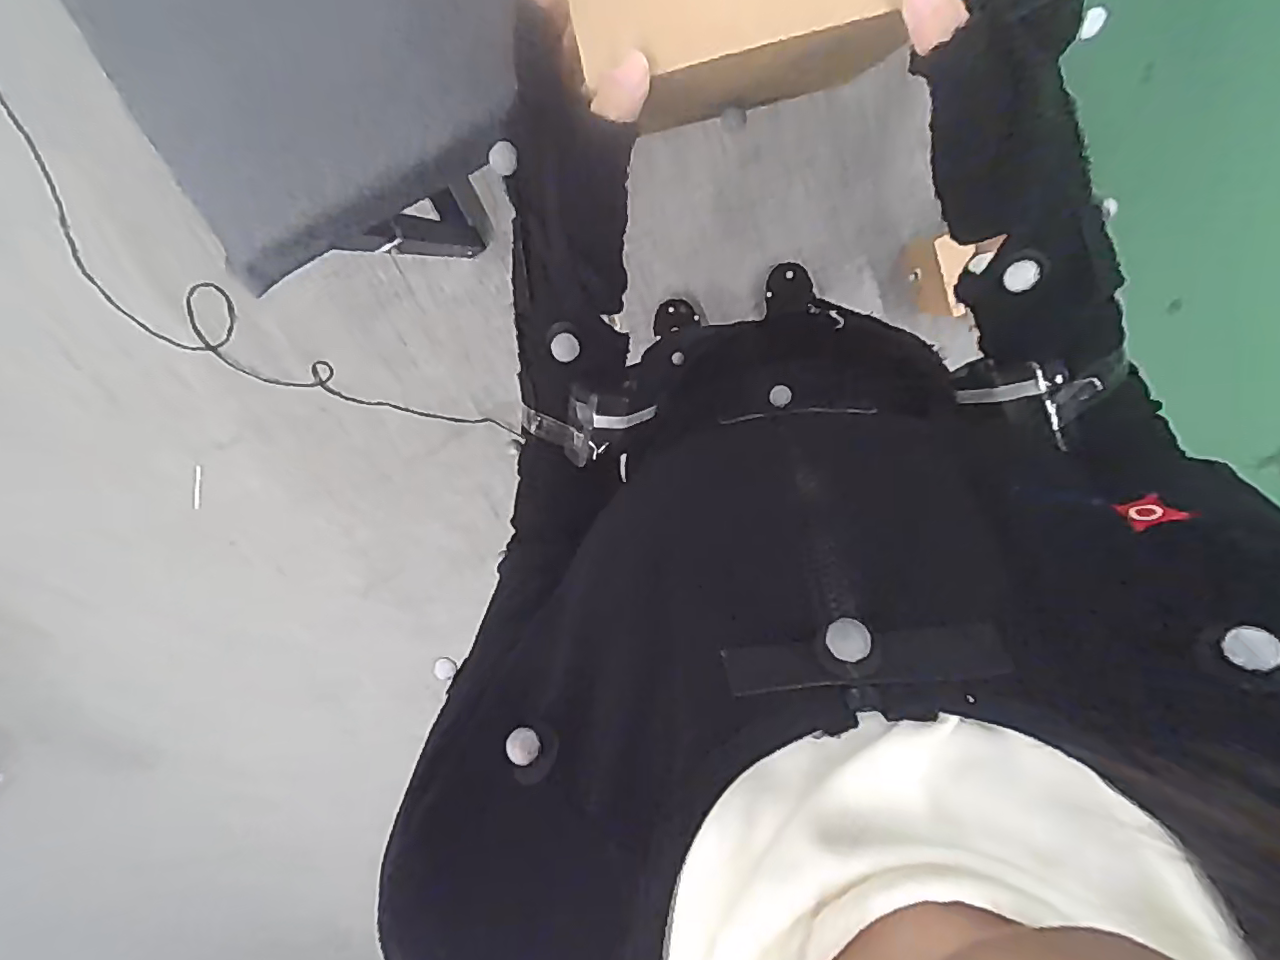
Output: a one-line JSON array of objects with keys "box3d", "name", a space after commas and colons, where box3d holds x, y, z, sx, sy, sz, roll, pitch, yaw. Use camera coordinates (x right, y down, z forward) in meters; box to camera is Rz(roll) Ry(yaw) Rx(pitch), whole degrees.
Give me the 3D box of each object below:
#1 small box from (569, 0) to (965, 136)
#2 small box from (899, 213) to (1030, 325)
[{"box3d": [0.044, -0.296, 0.266, 0.168, 0.176, 0.179, -8, 115, 7], "name": "small box"}, {"box3d": [0.697, -0.455, 1.176, 0.179, 0.176, 0.168, -21, 106, 12], "name": "small box"}]
